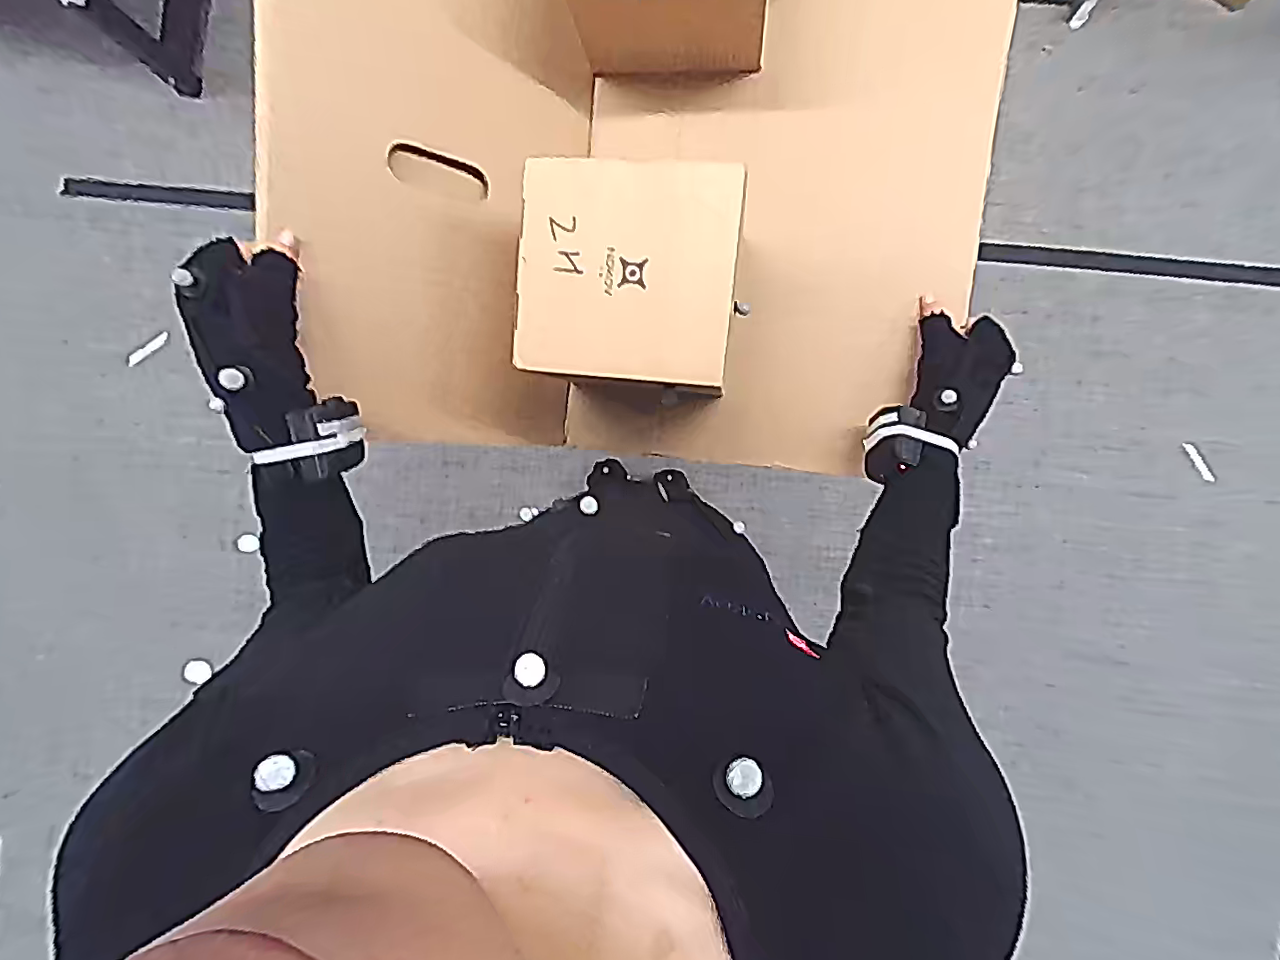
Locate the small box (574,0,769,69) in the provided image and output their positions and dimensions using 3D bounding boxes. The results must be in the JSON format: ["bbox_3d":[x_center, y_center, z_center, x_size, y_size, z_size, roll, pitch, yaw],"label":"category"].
[{"bbox_3d":[0.029,-0.493,0.469,0.179,0.176,0.168,6,98,8],"label":"small box"}]

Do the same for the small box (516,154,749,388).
[{"bbox_3d":[0.002,-0.180,0.511,0.179,0.176,0.168,8,98,9],"label":"small box"}]
